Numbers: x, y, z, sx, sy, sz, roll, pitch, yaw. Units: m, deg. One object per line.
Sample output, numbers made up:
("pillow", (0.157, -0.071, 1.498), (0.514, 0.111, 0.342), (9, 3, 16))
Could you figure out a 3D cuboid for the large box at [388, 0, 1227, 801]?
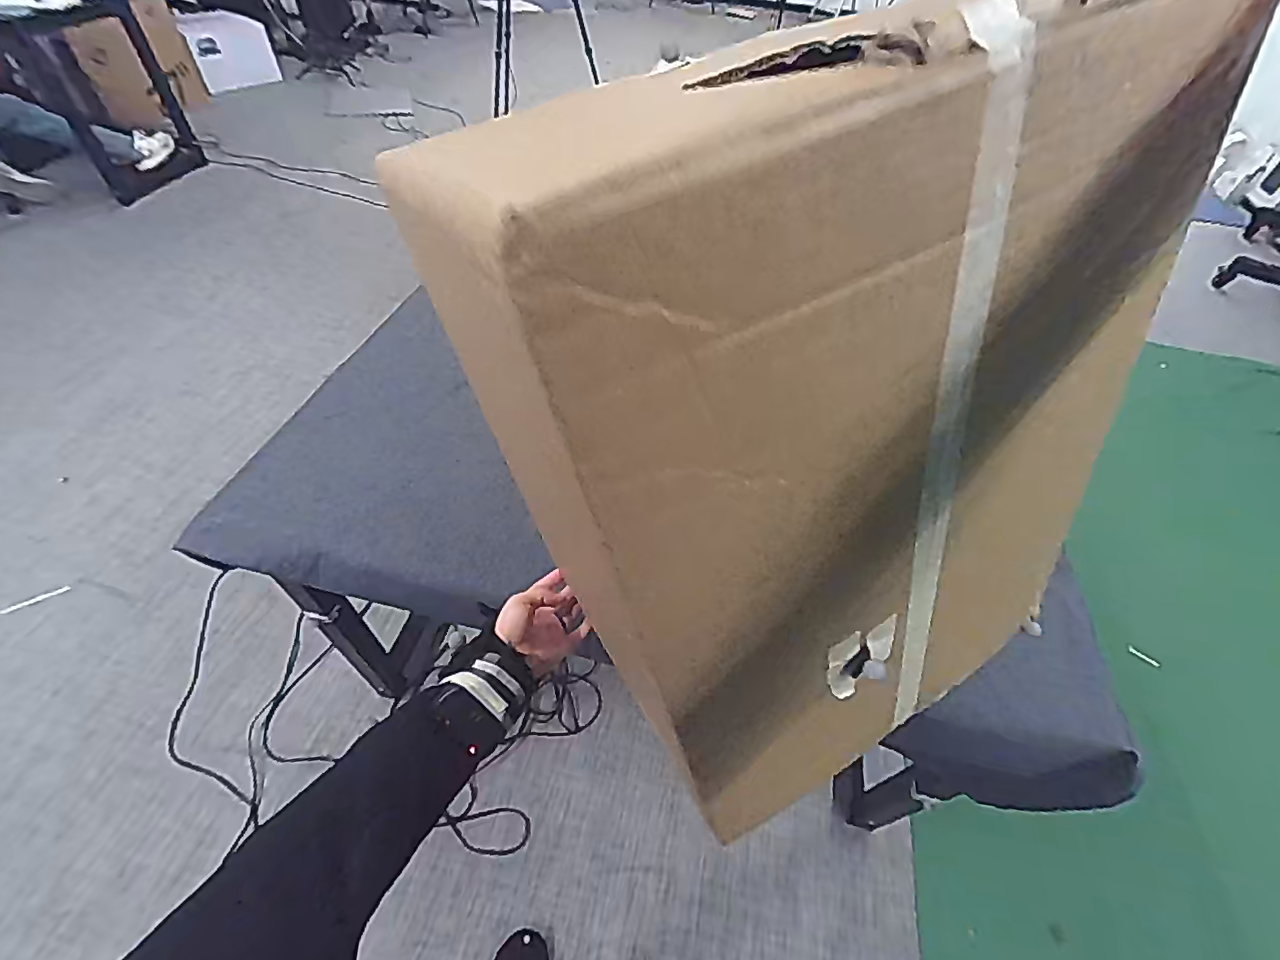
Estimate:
("large box", (0.076, -0.055, 0.408), (0.320, 0.408, 0.320), (-29, 42, -14))
